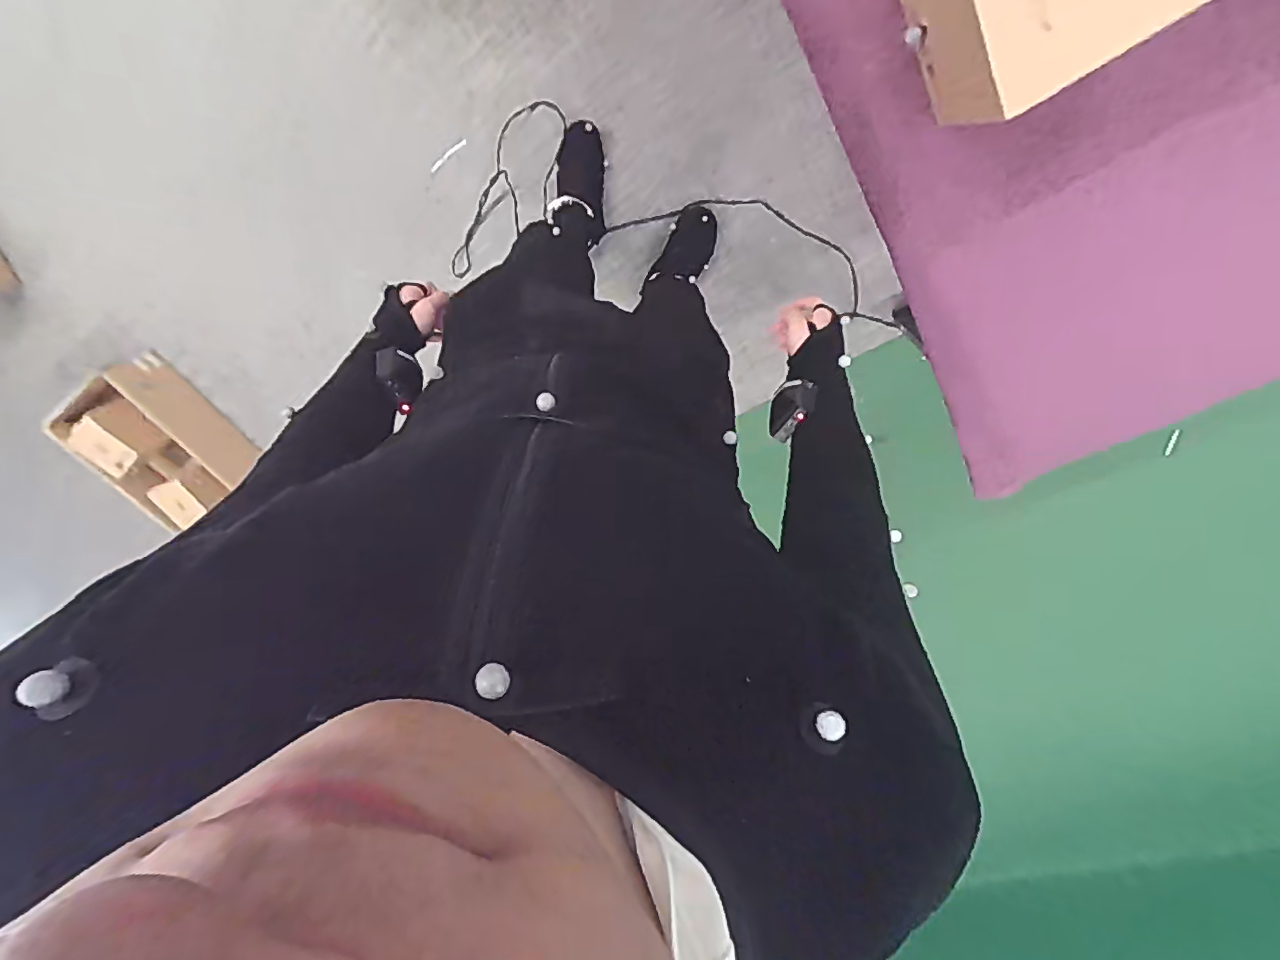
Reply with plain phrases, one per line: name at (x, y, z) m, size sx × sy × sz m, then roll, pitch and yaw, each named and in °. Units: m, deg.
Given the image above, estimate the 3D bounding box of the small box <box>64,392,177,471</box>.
small box at (-1.697, -0.168, 1.773) m, size 0.168 × 0.176 × 0.179 m, roll -30°, pitch 115°, yaw 23°

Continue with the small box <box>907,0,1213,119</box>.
small box at (0.366, -0.458, 0.483) m, size 0.179 × 0.176 × 0.168 m, roll -25°, pitch 115°, yaw 21°
